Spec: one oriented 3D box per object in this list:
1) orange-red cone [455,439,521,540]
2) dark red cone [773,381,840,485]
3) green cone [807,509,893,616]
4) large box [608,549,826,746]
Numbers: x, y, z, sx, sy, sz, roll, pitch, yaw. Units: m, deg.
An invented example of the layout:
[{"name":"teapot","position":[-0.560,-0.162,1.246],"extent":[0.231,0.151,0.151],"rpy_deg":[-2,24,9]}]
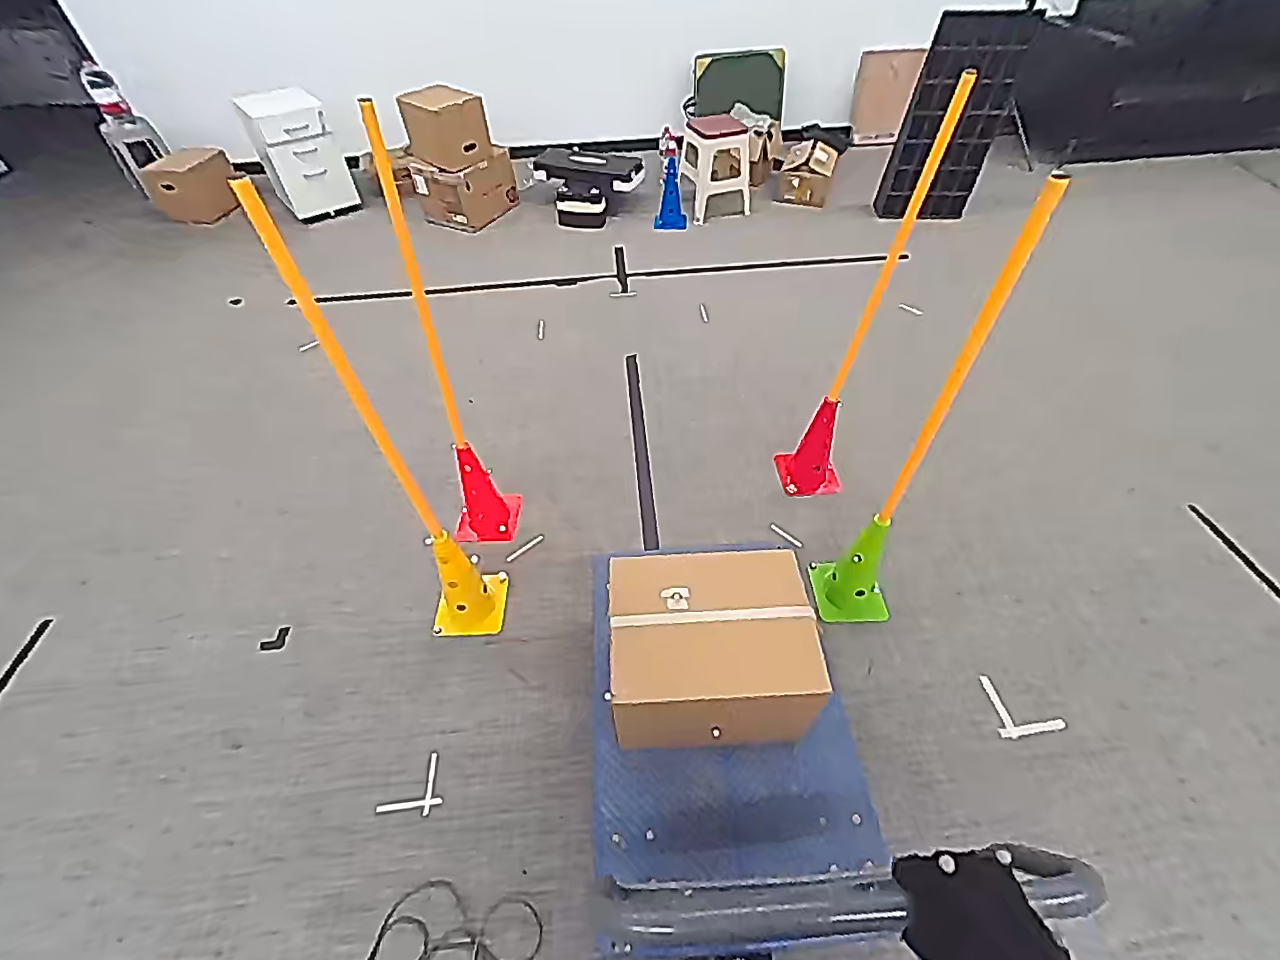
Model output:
[{"name":"orange-red cone","position":[-0.520,0.007,1.729],"extent":[0.198,0.360,0.199],"rpy_deg":[2,47,2]},{"name":"dark red cone","position":[0.598,-0.165,1.821],"extent":[0.201,0.394,0.202],"rpy_deg":[-3,49,-4]},{"name":"green cone","position":[0.622,0.211,1.514],"extent":[0.202,0.368,0.200],"rpy_deg":[-1,49,-1]},{"name":"large box","position":[0.143,0.376,1.193],"extent":[0.408,0.320,0.320],"rpy_deg":[-3,49,0]}]
